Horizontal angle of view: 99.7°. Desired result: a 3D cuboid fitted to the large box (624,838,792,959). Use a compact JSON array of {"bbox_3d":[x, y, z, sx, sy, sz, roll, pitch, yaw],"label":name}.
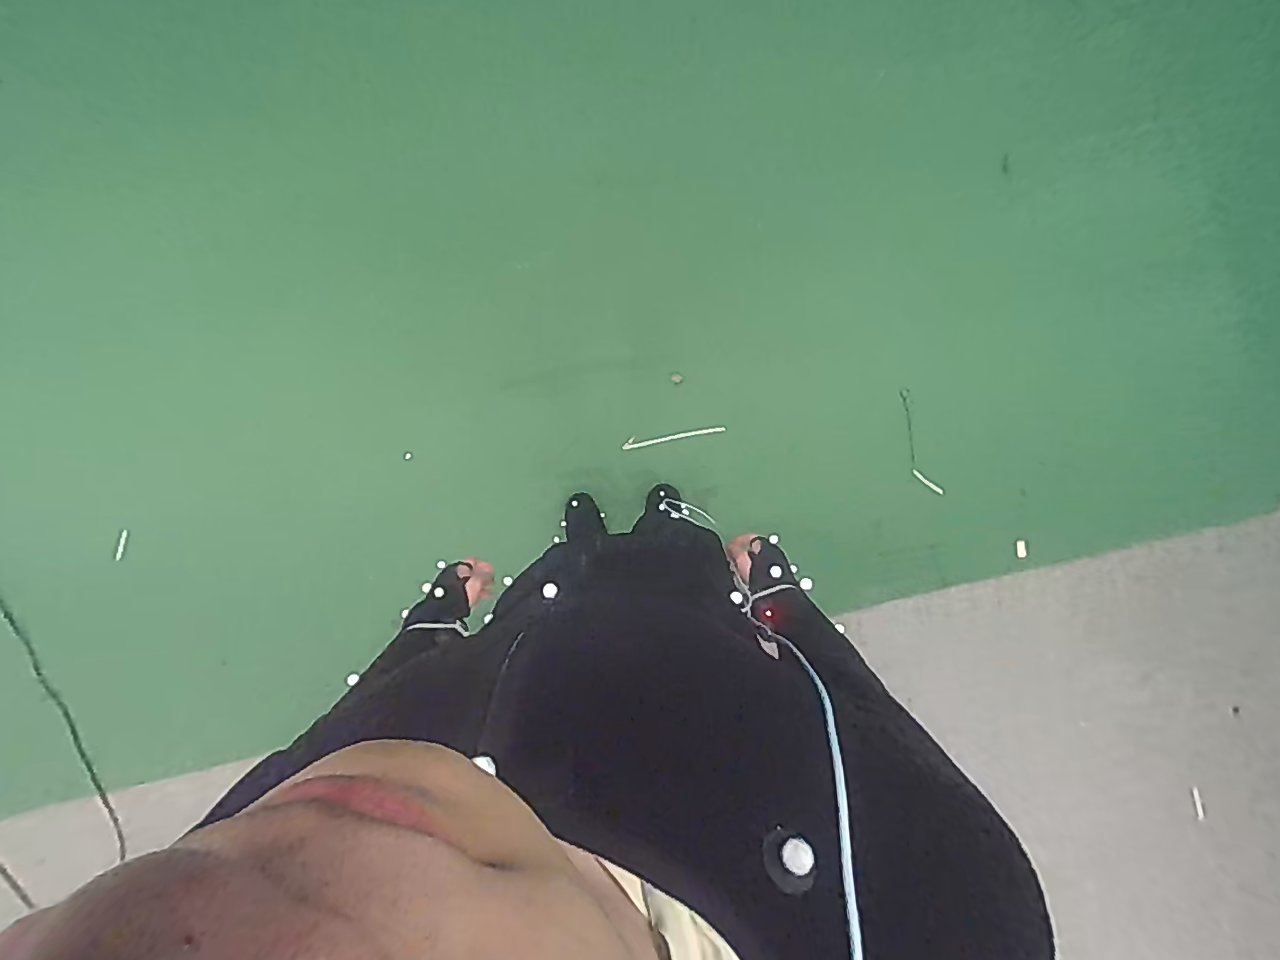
[{"bbox_3d":[0.191,1.299,1.514,0.408,0.320,0.320,-14,91,-4],"label":"large box"}]
